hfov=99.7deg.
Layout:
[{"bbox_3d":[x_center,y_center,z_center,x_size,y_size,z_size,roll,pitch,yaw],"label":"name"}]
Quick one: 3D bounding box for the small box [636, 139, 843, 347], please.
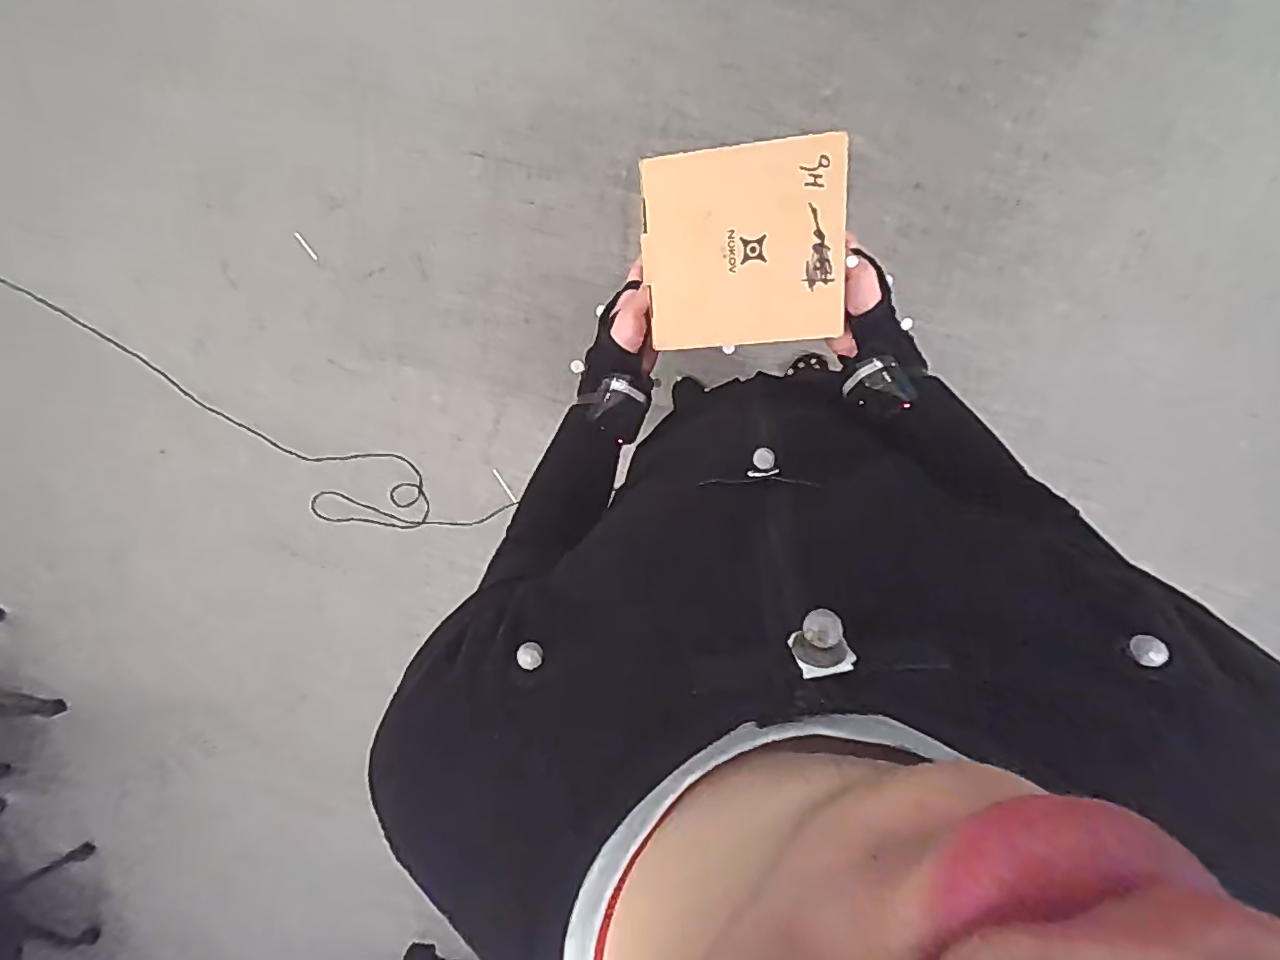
[{"bbox_3d":[0.100,-0.229,0.558,0.179,0.176,0.168,-1,109,10],"label":"small box"}]
